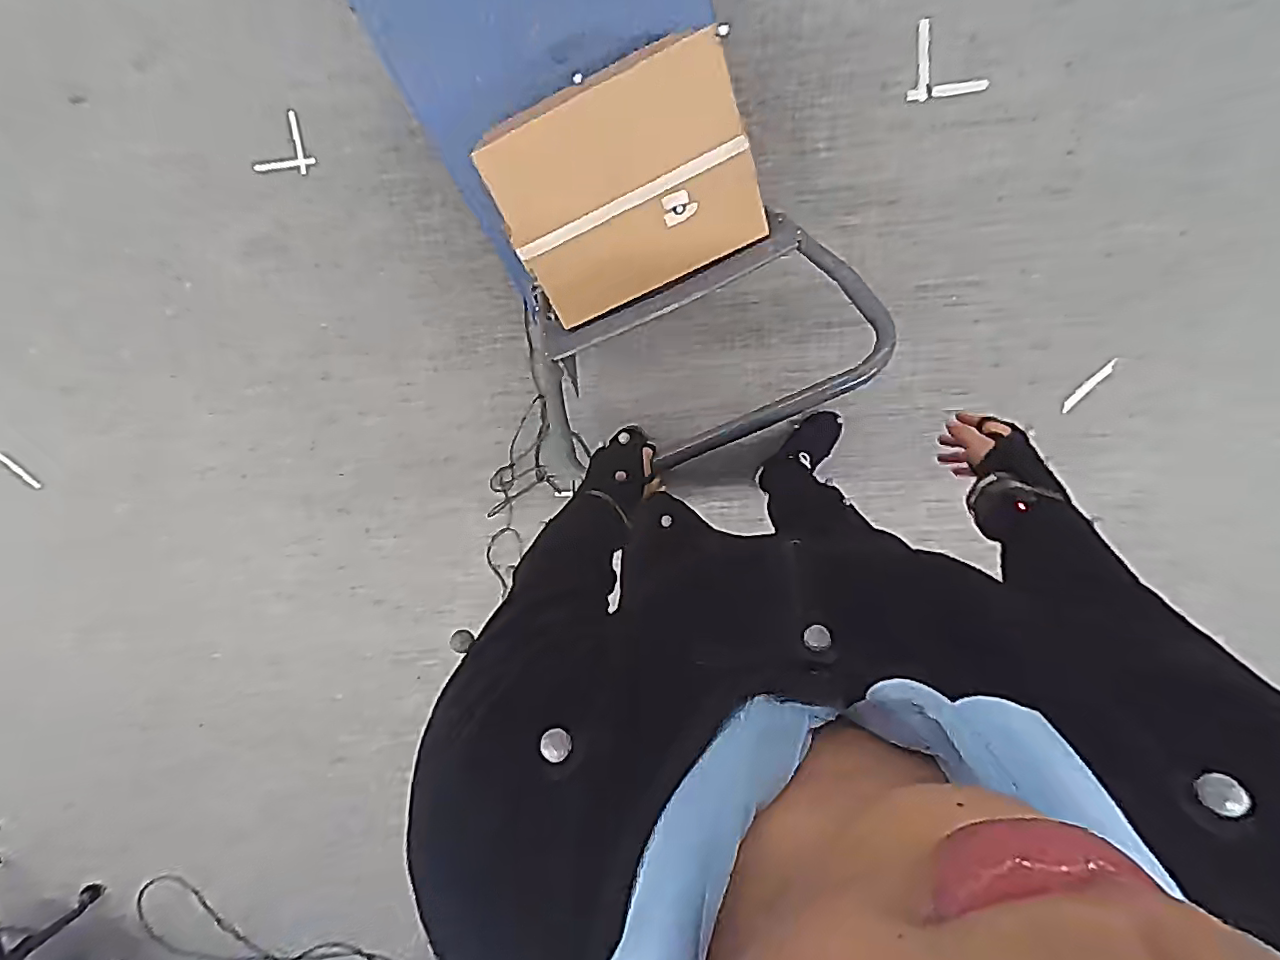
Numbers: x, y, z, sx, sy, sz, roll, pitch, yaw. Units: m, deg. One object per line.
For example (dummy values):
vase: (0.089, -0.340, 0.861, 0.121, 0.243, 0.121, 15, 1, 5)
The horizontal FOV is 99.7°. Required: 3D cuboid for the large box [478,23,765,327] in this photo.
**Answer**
large box: (-0.039, -0.558, 1.011, 0.408, 0.320, 0.320, -25, 129, 7)
